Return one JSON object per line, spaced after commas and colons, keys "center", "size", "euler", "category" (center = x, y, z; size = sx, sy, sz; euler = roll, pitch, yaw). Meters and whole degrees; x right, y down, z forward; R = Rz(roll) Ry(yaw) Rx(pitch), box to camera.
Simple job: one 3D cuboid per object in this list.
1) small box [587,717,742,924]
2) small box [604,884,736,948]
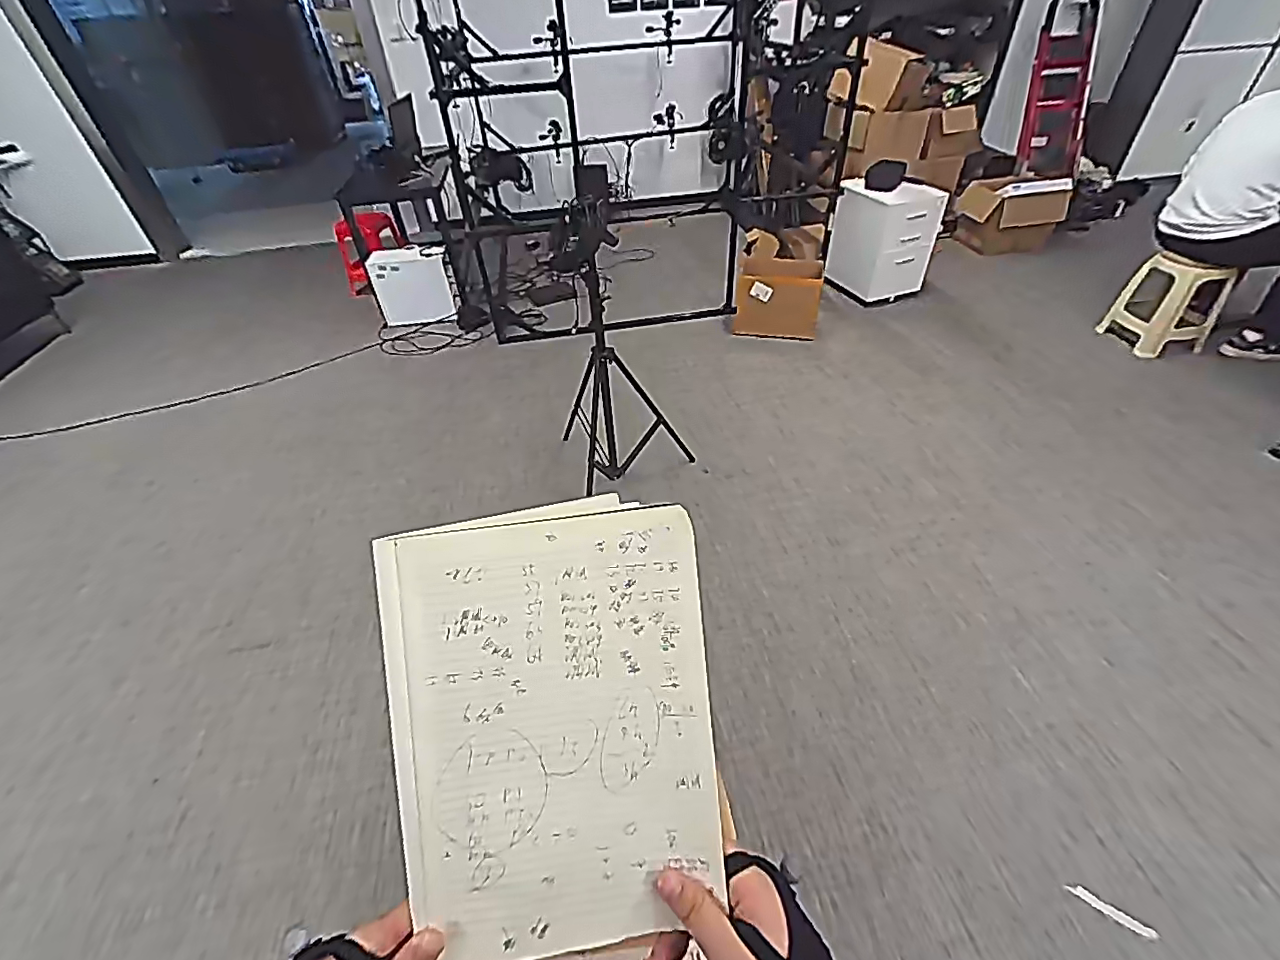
{"center": [0.022, 0.442, 0.708], "size": [0.168, 0.176, 0.179], "euler": [-7, 42, -7], "category": "small box"}
{"center": [0.028, 0.569, 0.812], "size": [0.179, 0.176, 0.168], "euler": [-9, 43, -8], "category": "small box"}
